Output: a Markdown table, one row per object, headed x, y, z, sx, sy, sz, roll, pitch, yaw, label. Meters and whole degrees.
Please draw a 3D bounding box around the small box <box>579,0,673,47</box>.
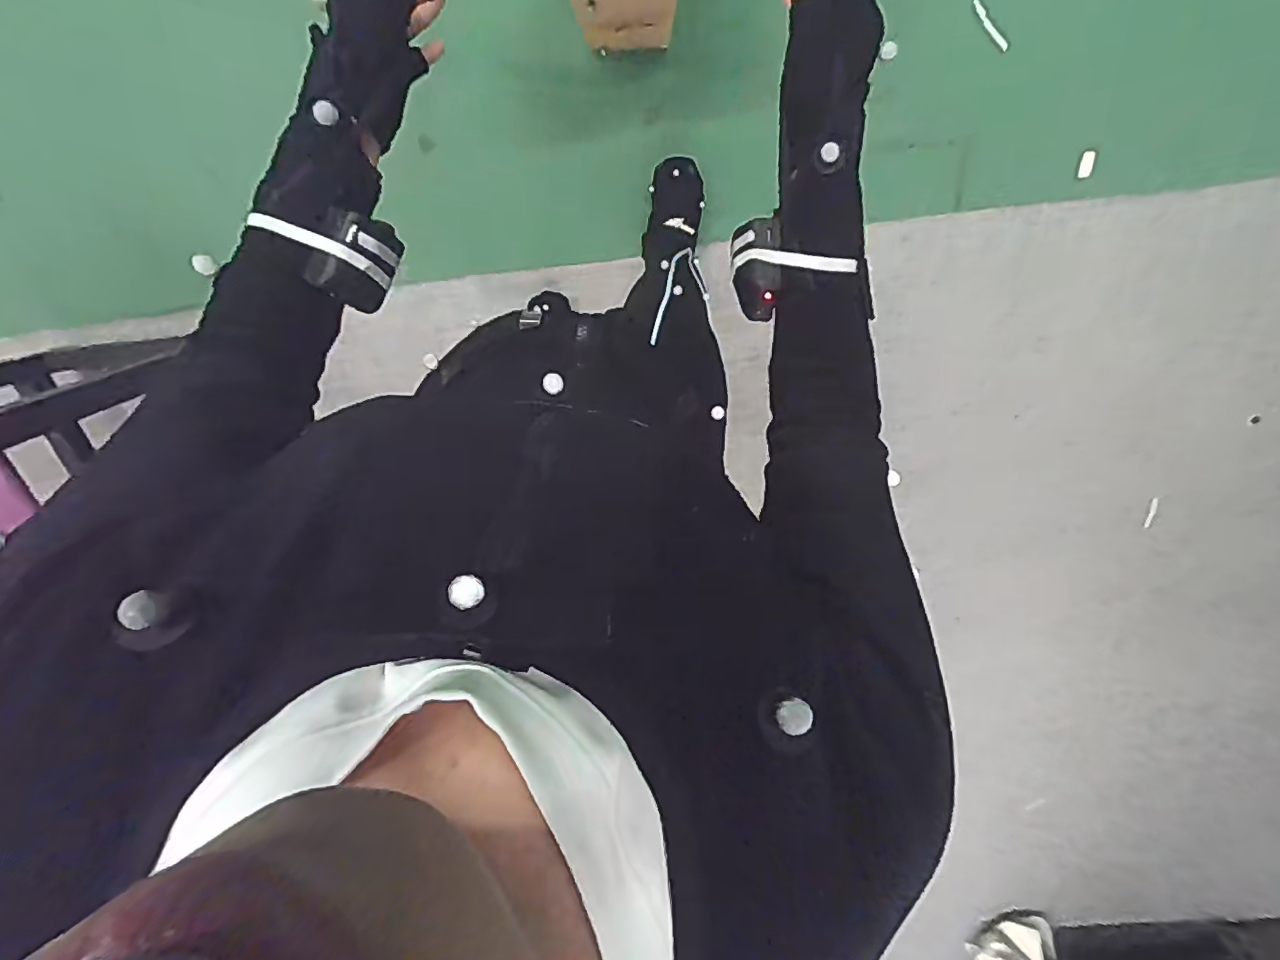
| x | y | z | sx | sy | sz | roll | pitch | yaw | label |
| --- | --- | --- | --- | --- | --- | --- | --- | --- | --- |
| -0.027 | -0.918 | 0.988 | 0.168 | 0.176 | 0.179 | -5 | 119 | 2 | small box |
